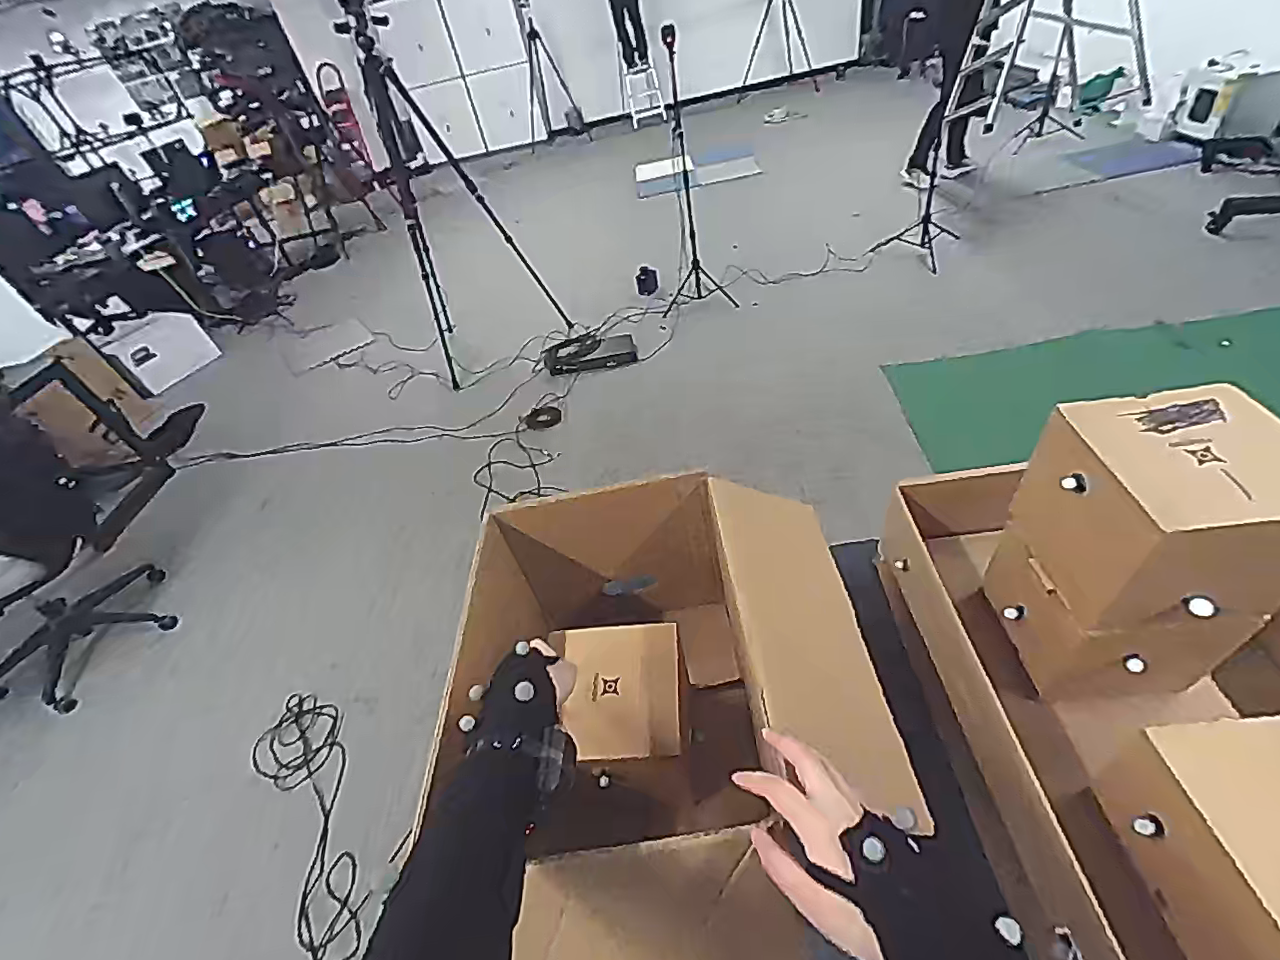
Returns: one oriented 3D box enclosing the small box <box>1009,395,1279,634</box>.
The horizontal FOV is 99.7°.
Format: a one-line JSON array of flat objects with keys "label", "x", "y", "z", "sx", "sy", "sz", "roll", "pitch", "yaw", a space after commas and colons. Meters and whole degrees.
[{"label": "small box", "x": 0.527, "y": 0.038, "z": 0.564, "sx": 0.168, "sy": 0.176, "sz": 0.179, "roll": -7, "pitch": 45, "yaw": 8}]
